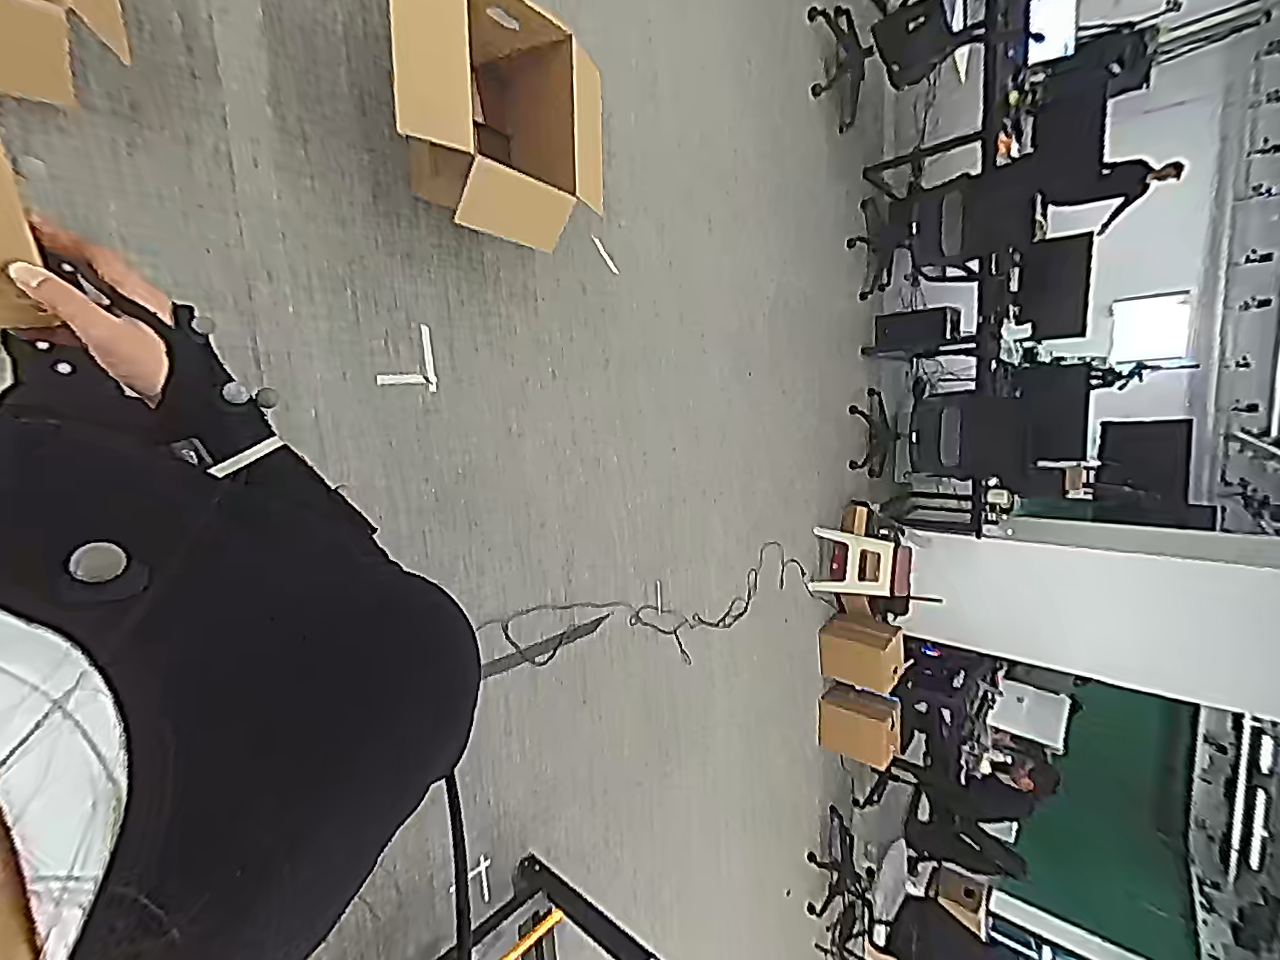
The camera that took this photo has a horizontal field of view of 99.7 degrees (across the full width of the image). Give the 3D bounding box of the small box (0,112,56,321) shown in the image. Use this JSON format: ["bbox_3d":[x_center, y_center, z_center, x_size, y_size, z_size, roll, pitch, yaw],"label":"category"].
[{"bbox_3d":[-0.457,-0.187,0.280,0.179,0.176,0.168,-19,131,-44],"label":"small box"}]
